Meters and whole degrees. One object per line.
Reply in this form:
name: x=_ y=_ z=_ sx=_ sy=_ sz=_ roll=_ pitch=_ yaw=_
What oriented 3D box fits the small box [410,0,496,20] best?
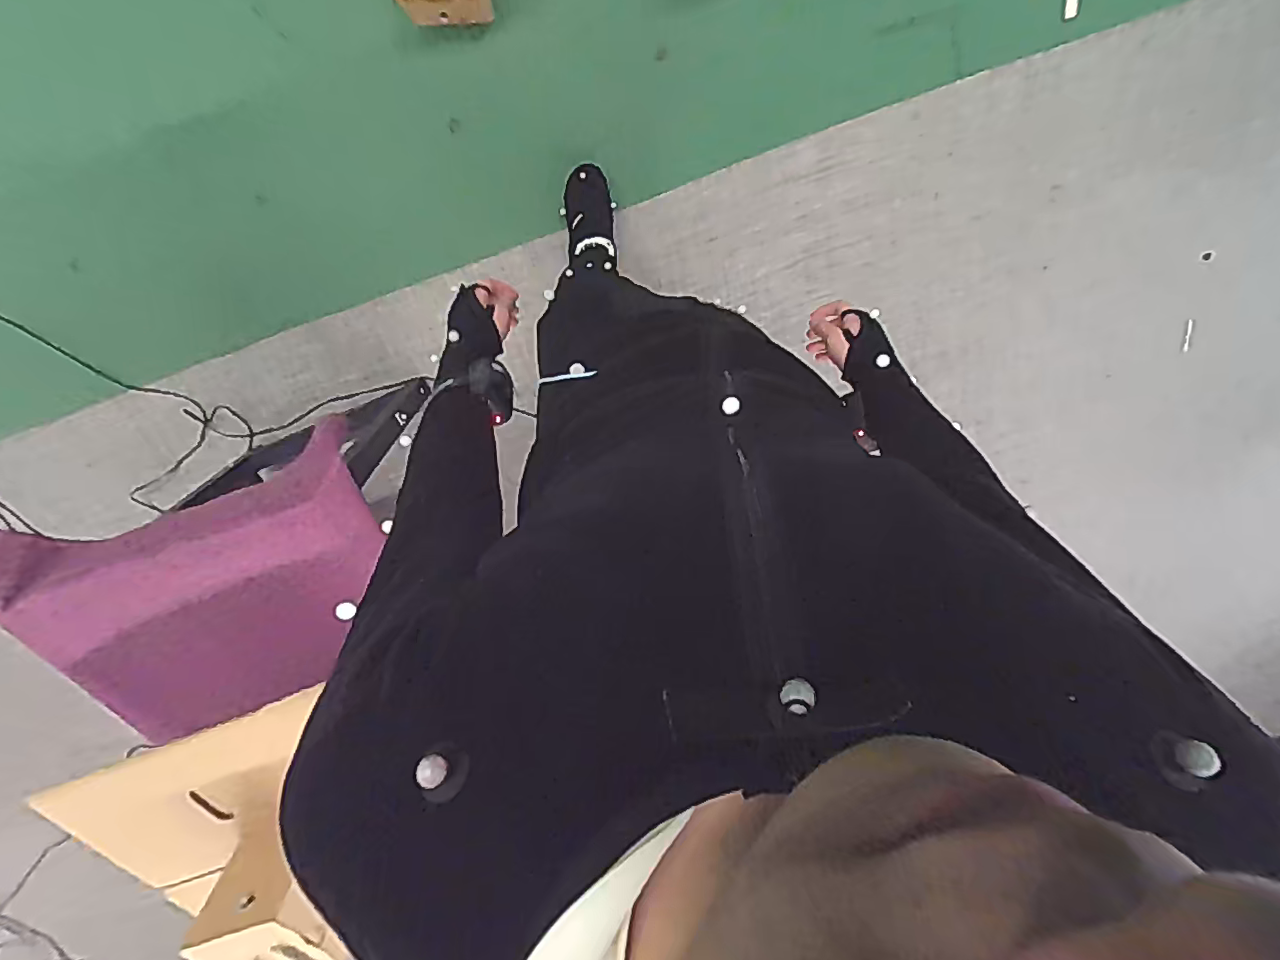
small box: x=-0.385 y=-1.030 z=1.048 sx=0.168 sy=0.176 sz=0.179 roll=-5 pitch=119 yaw=-3

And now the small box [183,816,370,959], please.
small box: x=-0.585 y=0.705 z=0.907 sx=0.179 sy=0.176 sz=0.168 roll=-22 pitch=116 yaw=6
